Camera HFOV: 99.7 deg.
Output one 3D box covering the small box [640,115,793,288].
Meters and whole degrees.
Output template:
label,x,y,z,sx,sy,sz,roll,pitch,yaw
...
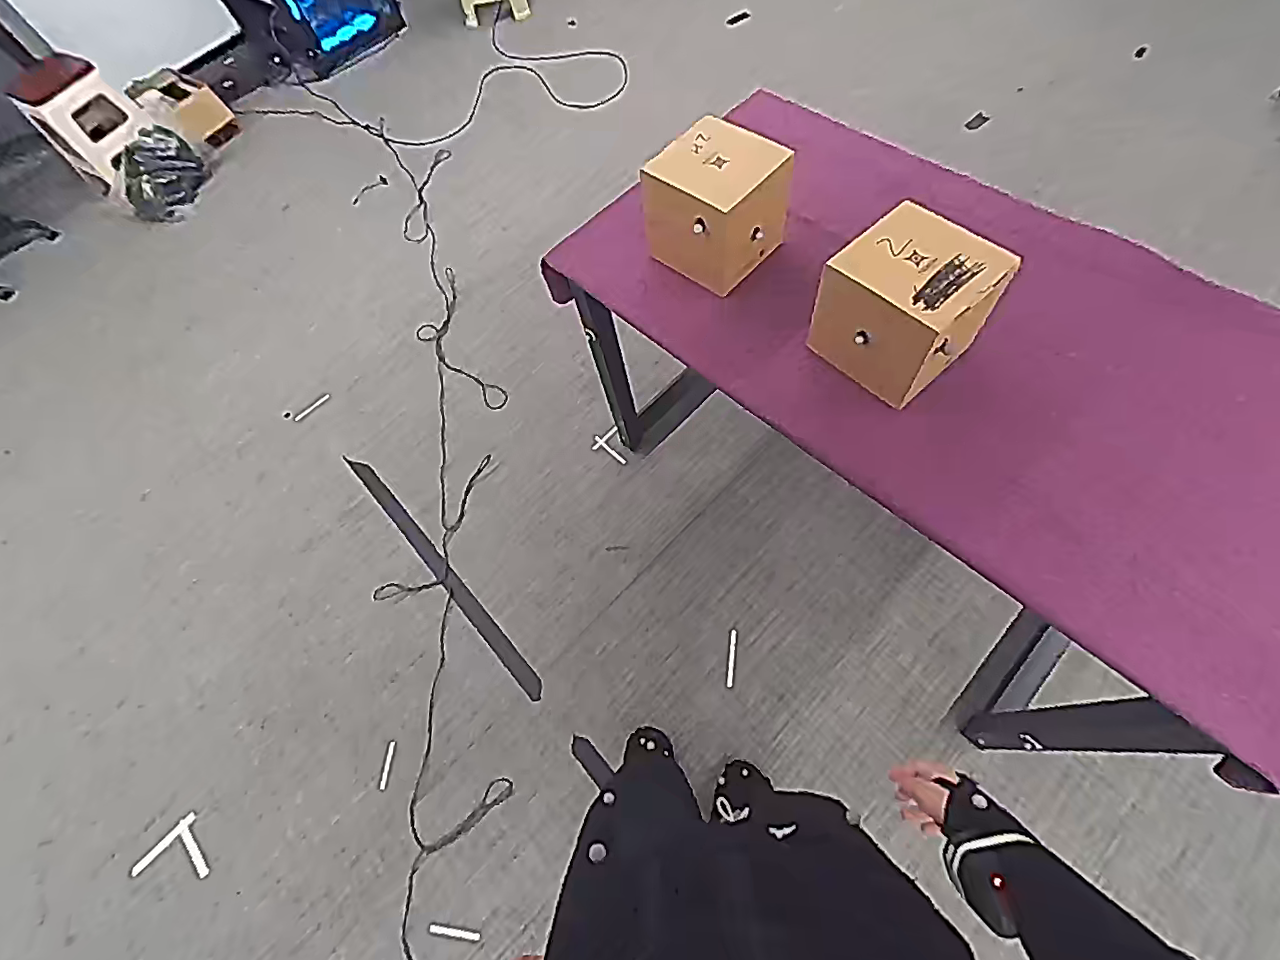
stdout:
label,x,y,z,sx,sy,sz,roll,pitch,yaw
small box,0.124,-0.450,0.893,0.179,0.176,0.168,39,74,22
